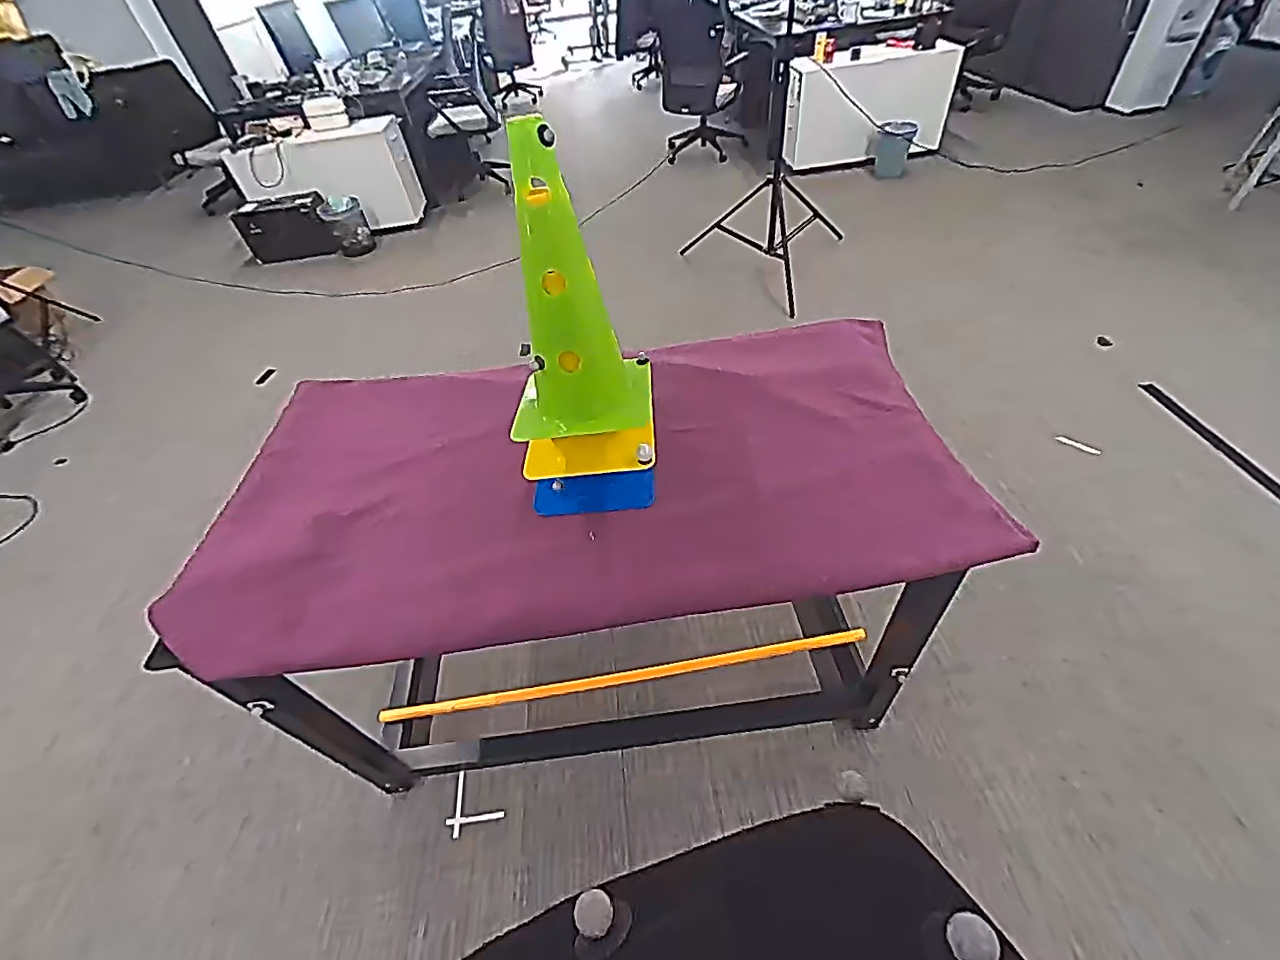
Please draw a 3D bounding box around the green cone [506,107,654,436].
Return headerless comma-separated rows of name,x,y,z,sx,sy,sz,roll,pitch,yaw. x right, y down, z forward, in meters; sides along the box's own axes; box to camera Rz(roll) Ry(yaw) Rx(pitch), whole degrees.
green cone,-0.105,-0.262,0.699,0.200,0.368,0.202,-7,40,4
